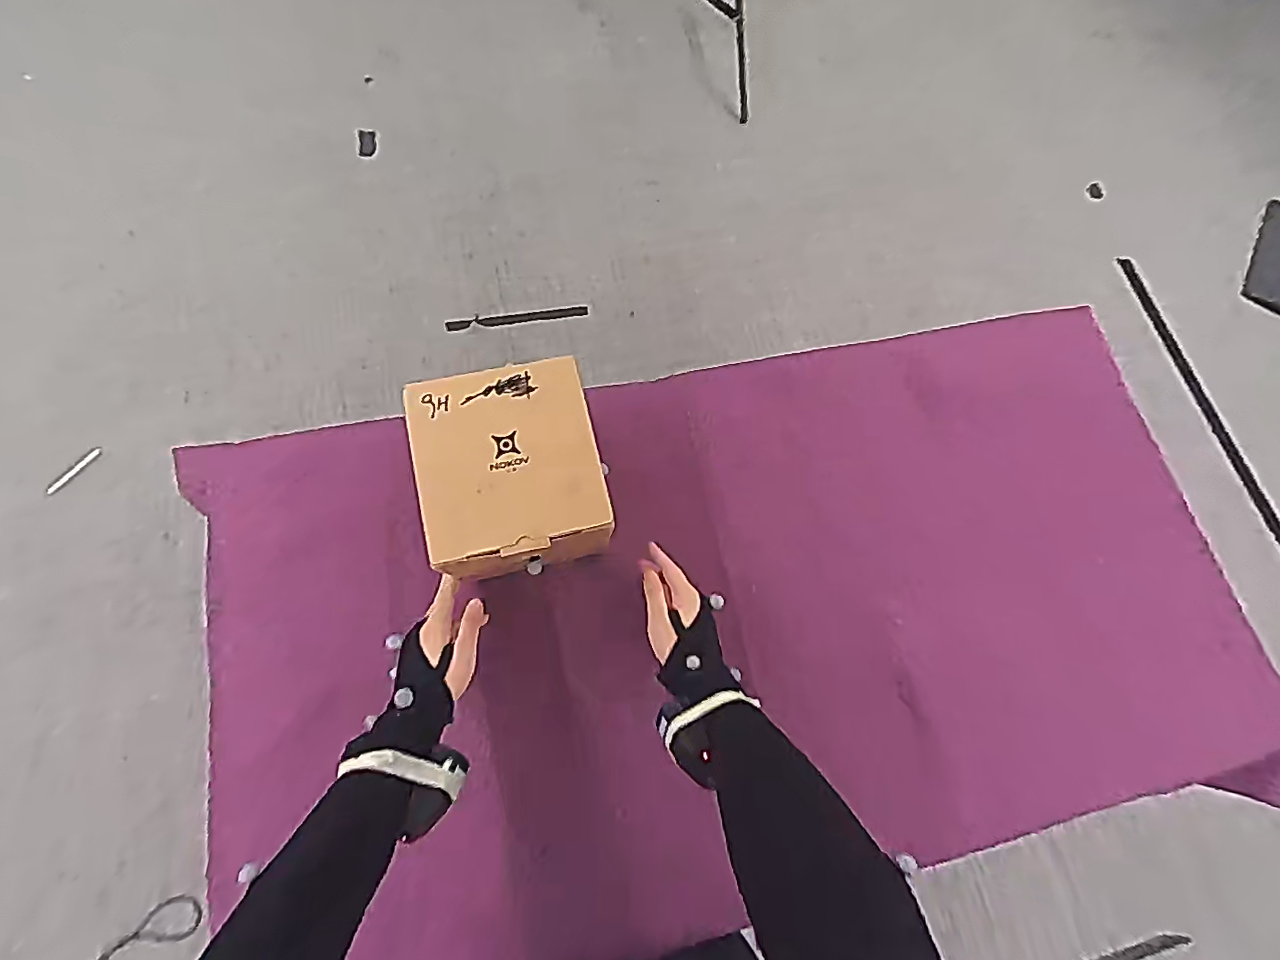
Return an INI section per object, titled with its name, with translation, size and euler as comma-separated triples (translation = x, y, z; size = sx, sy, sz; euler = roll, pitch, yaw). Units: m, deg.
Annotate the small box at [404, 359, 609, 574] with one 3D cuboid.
[small box]
translation = -0.131, -0.002, 0.576
size = 0.168, 0.176, 0.179
euler = -12, 77, -9
